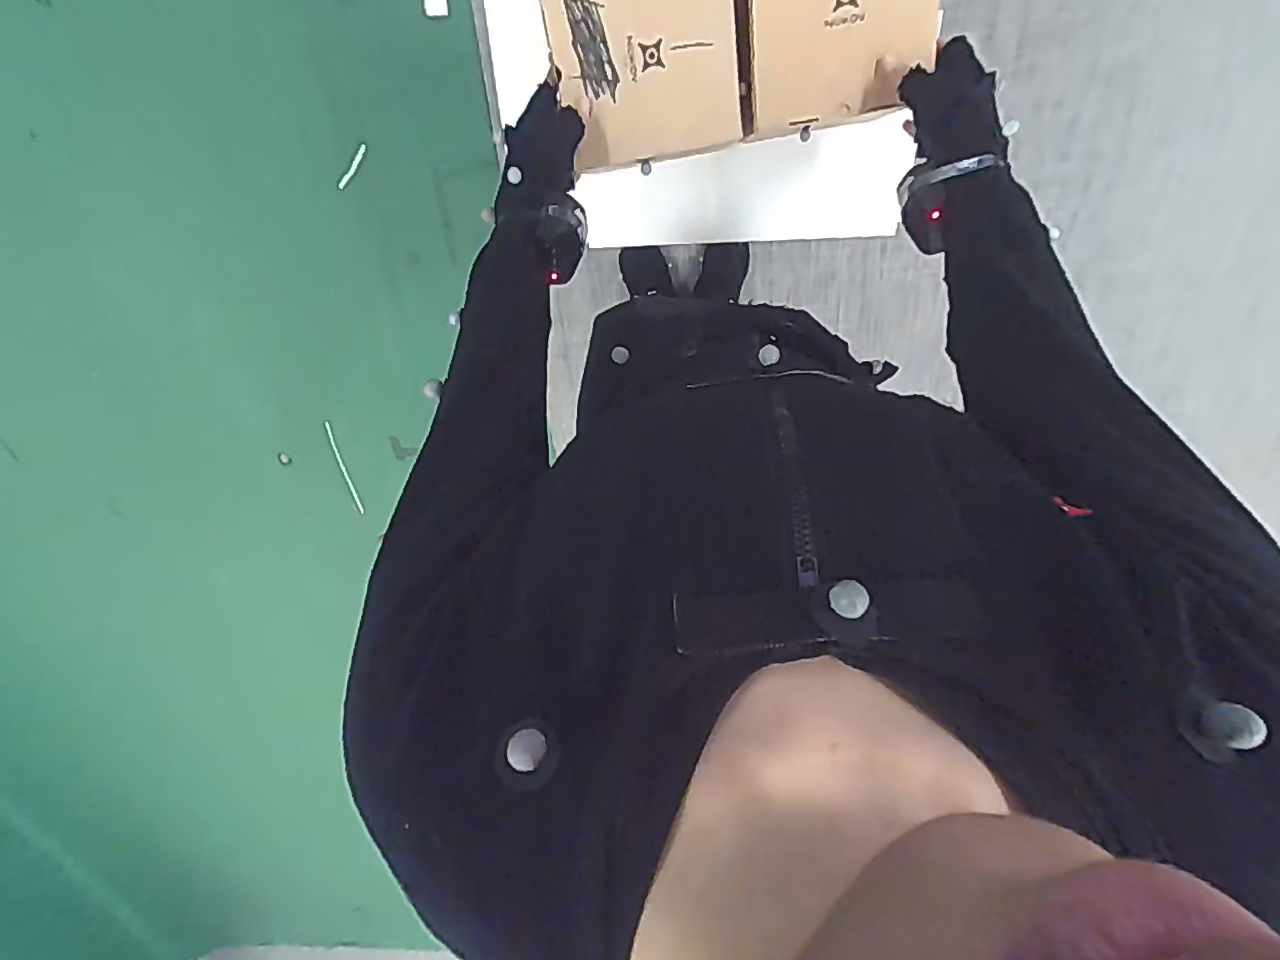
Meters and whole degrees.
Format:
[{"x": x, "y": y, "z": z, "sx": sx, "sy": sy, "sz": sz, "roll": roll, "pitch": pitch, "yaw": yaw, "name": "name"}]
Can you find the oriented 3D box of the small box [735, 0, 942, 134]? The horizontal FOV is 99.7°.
[{"x": 0.188, "y": -0.469, "z": 0.547, "sx": 0.168, "sy": 0.176, "sz": 0.179, "roll": -5, "pitch": 120, "yaw": 7, "name": "small box"}]
